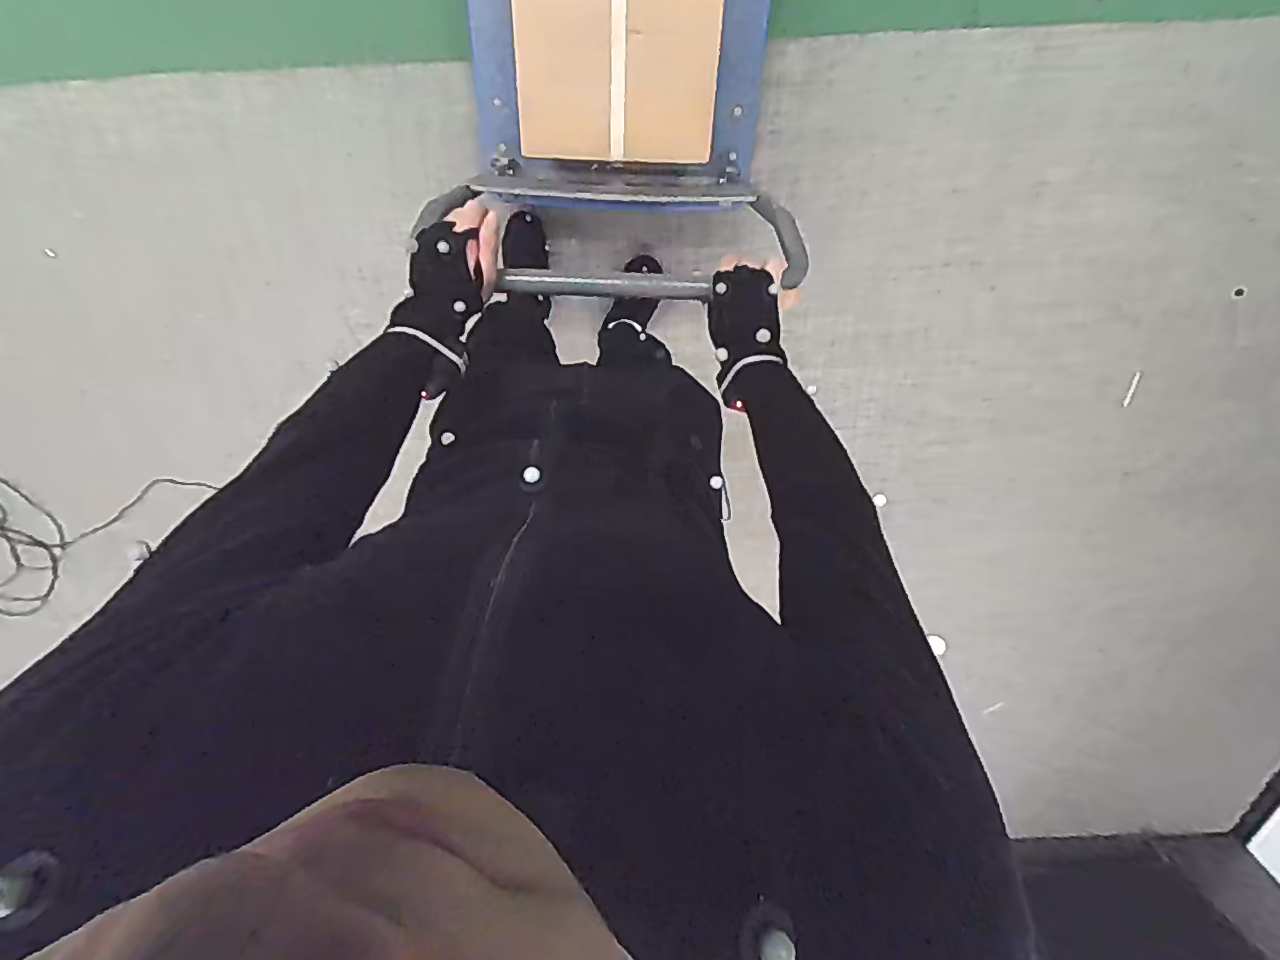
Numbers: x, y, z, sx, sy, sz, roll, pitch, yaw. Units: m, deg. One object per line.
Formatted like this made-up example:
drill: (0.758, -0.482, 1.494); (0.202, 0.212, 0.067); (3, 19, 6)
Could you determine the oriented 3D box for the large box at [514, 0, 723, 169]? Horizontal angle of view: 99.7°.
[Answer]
large box: (-0.030, -0.767, 0.926); (0.320, 0.320, 0.408); (1, 121, -2)
